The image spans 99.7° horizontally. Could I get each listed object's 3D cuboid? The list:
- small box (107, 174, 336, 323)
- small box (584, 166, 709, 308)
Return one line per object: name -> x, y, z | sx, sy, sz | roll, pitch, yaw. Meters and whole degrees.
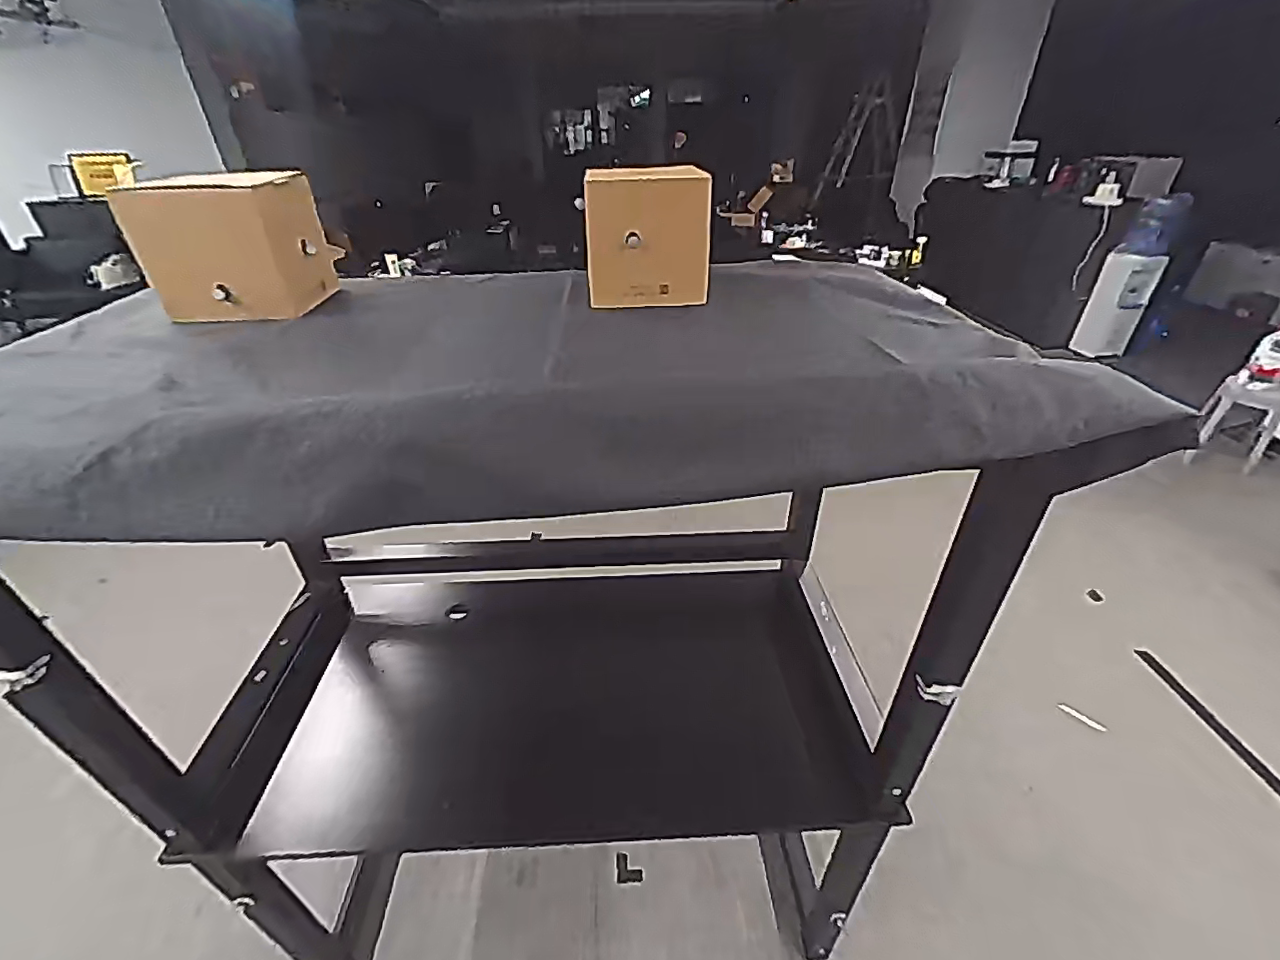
small box -> -0.568, -0.330, 0.770 | 0.179, 0.176, 0.168 | -3, 34, -4
small box -> 0.008, -0.358, 0.802 | 0.168, 0.176, 0.179 | -3, 34, -2
